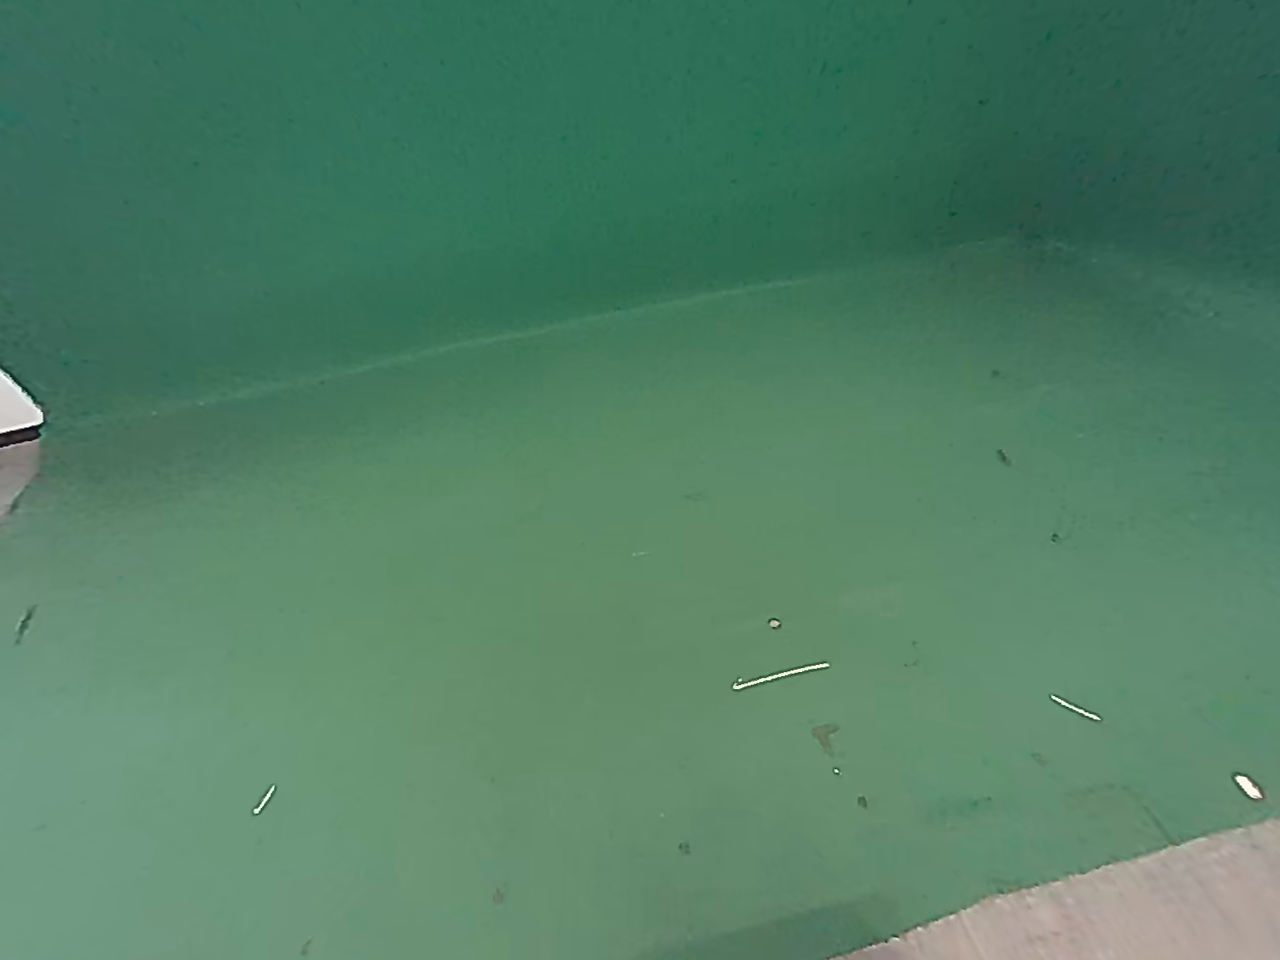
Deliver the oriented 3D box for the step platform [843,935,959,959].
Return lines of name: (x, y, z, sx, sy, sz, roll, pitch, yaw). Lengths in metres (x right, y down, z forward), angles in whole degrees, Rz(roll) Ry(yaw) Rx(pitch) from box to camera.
step platform: (0.264, 1.037, 0.909, 0.684, 0.204, 0.286, -14, 47, -4)
